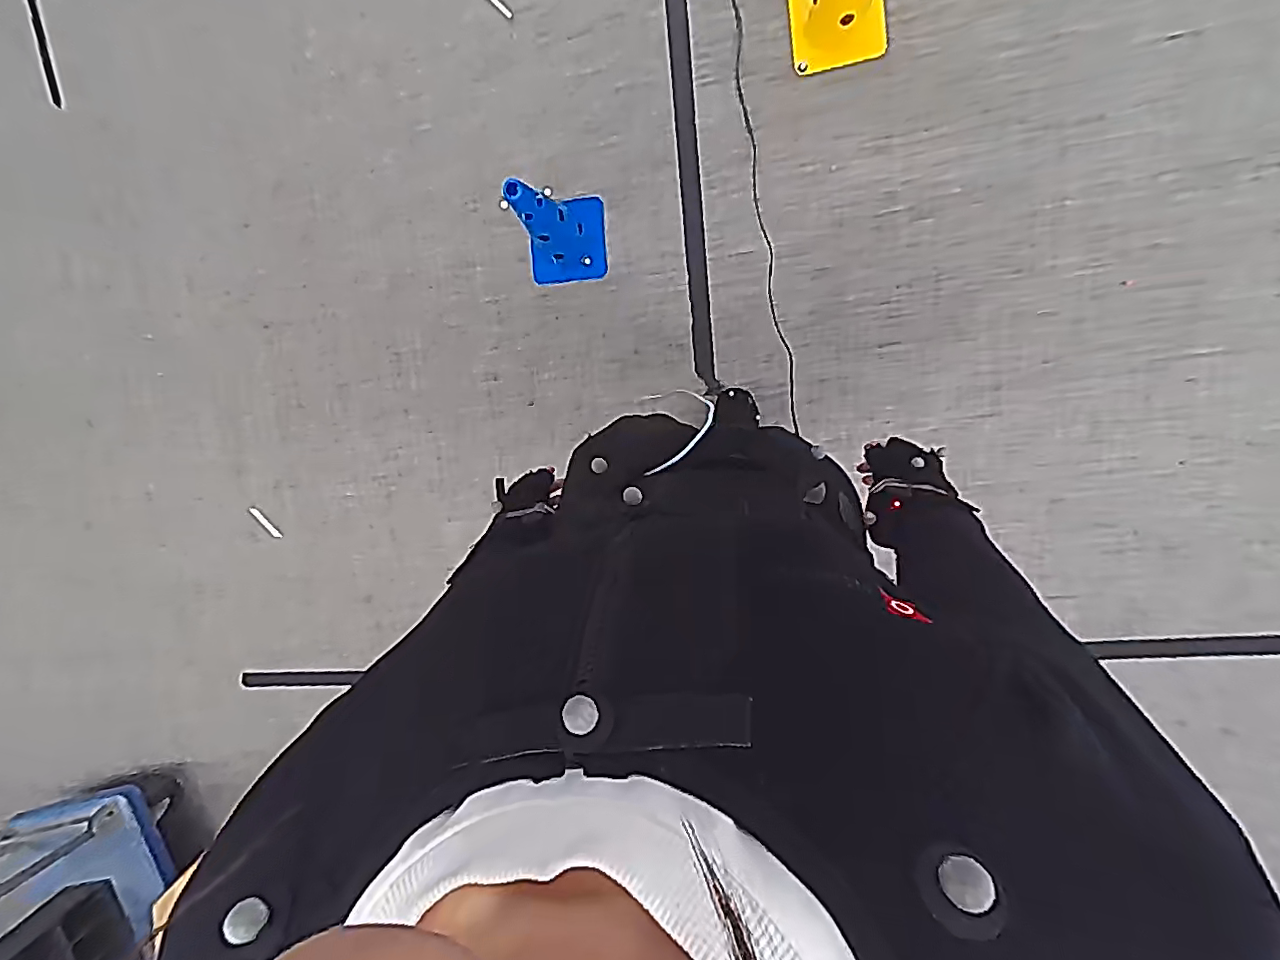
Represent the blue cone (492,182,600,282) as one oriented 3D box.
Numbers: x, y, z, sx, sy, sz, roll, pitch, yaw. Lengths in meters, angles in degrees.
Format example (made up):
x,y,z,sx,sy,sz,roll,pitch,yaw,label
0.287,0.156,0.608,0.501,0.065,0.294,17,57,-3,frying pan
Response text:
x,y,z,sx,sy,sz,roll,pitch,yaw,label
-0.227,-0.591,1.231,0.192,0.380,0.193,0,98,11,blue cone
